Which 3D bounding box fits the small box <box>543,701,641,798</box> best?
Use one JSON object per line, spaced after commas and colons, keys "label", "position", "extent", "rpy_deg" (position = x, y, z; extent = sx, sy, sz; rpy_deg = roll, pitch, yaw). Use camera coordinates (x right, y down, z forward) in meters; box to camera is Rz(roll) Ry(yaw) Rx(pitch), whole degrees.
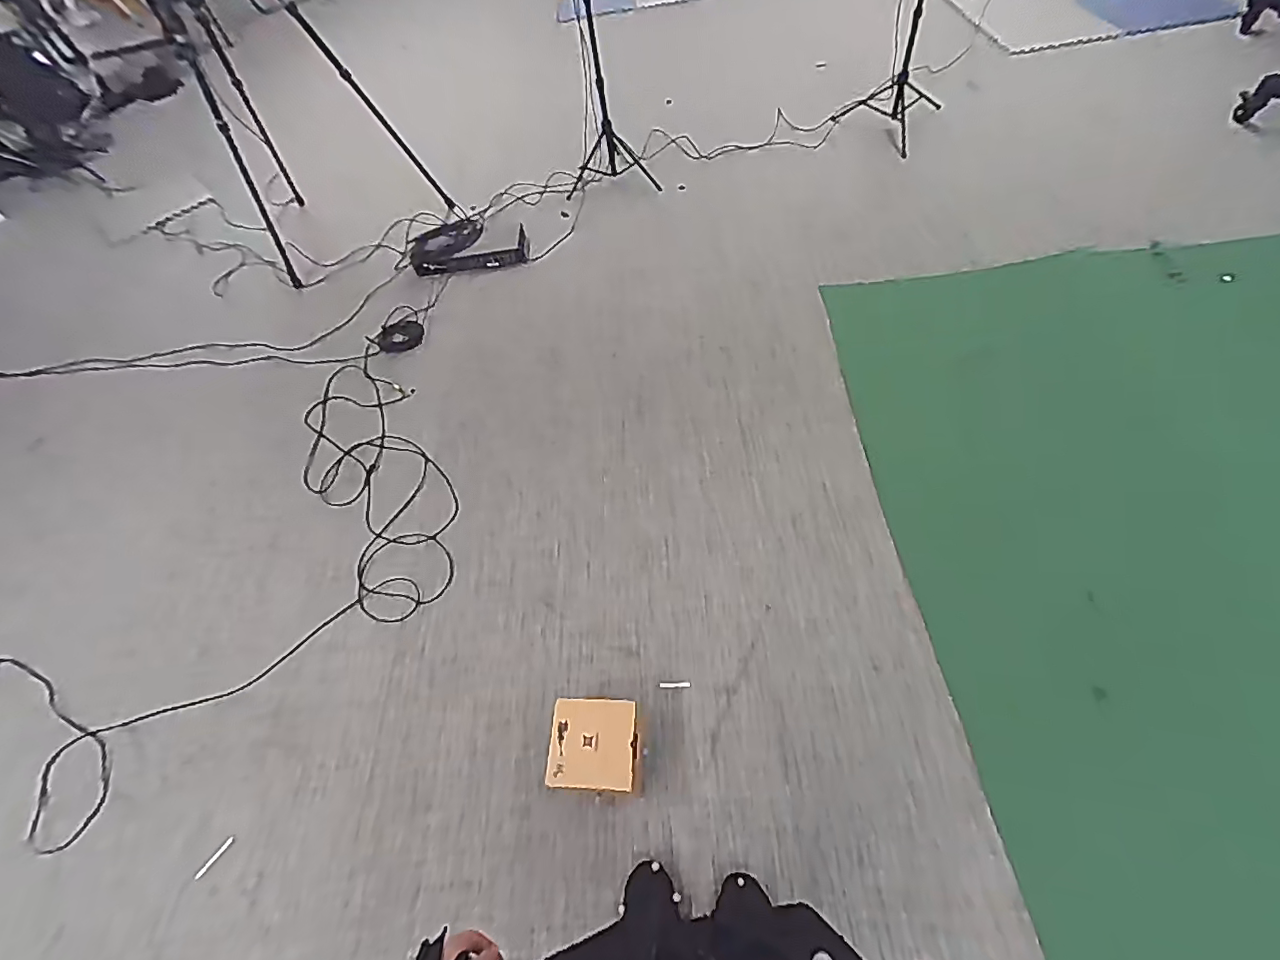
{"label": "small box", "position": [-0.093, 0.579, 1.157], "extent": [0.179, 0.176, 0.168], "rpy_deg": [-1, 57, 7]}
